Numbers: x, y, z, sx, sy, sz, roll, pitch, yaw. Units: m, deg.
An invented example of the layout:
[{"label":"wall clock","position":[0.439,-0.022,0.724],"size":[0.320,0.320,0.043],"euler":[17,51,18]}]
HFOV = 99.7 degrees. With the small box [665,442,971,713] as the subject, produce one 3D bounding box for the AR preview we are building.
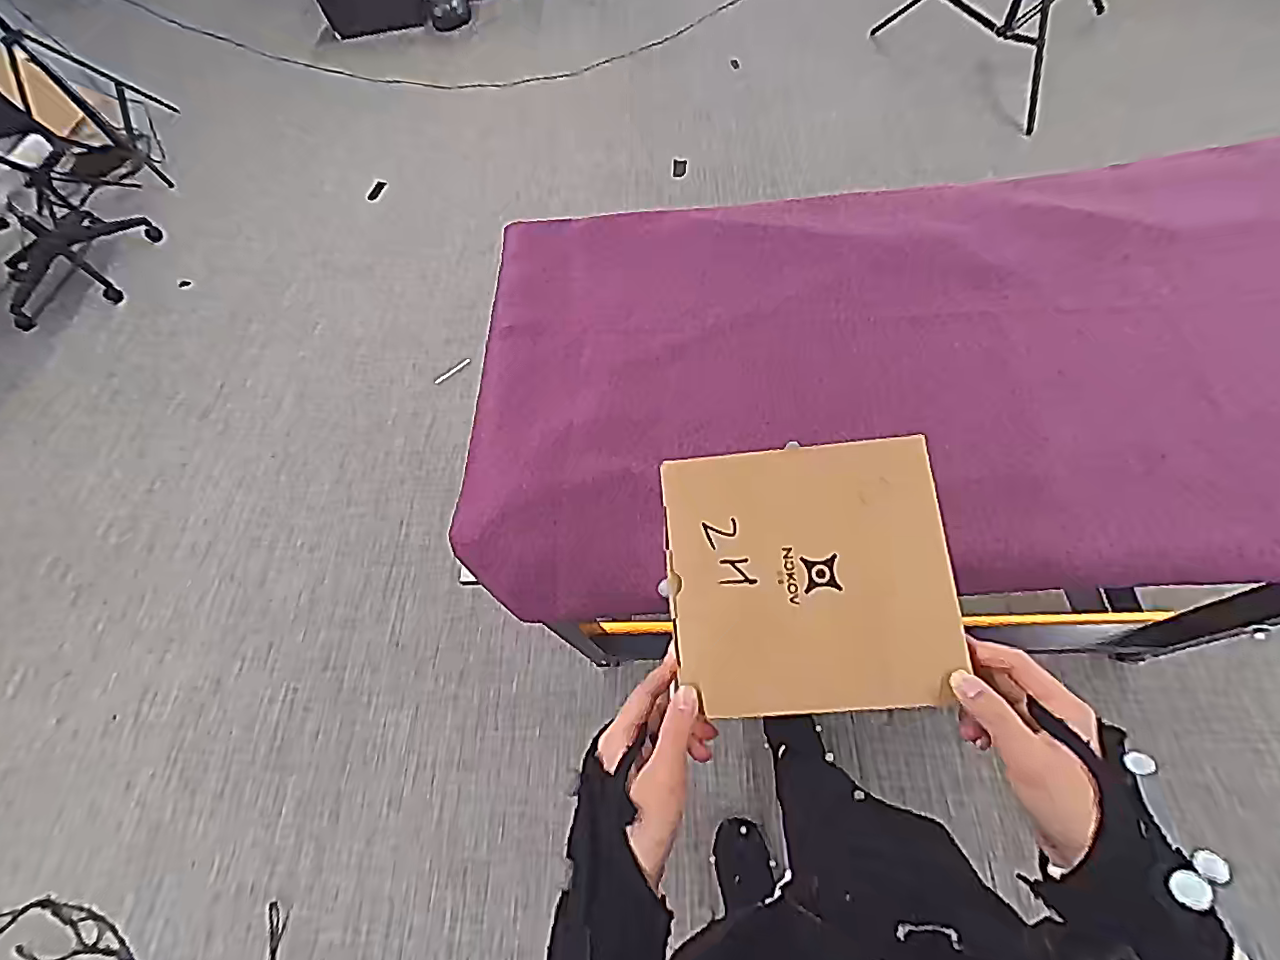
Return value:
[{"label":"small box","position":[0.116,0.078,0.423],"size":[0.179,0.176,0.168],"euler":[-5,75,6]}]
